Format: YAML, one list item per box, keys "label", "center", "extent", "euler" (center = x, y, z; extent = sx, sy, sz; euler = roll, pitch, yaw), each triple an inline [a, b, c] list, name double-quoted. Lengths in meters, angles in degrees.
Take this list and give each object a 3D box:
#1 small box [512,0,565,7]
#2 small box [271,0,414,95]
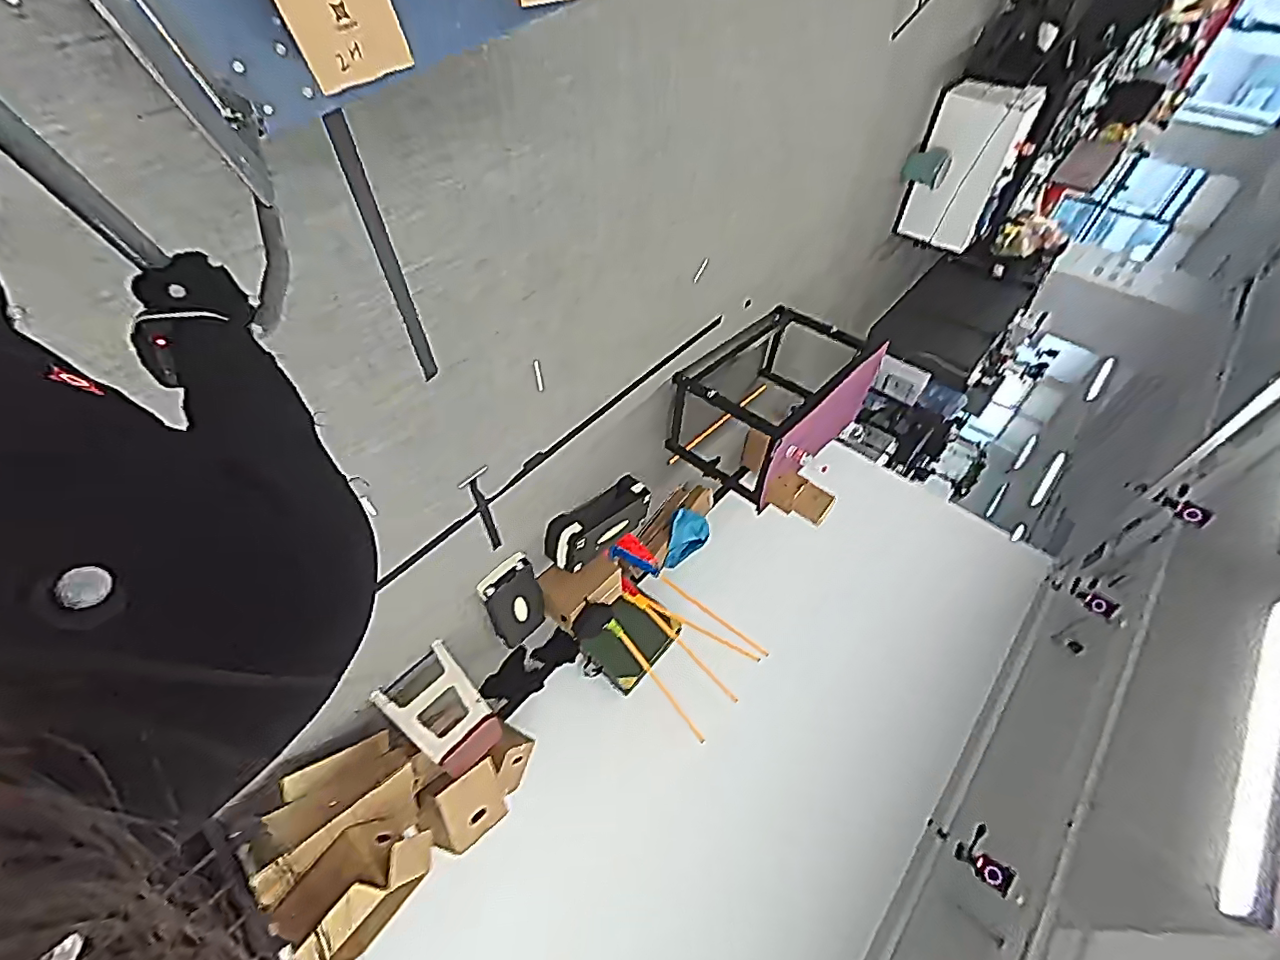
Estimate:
- label: "small box"
  center: [-0.179, -0.981, 0.961]
  extent: [0.179, 0.176, 0.168]
  euler: [-25, 149, -17]
- label: "small box"
  center: [-0.511, -0.787, 0.894]
  extent: [0.168, 0.176, 0.179]
  euler: [-29, 150, -11]
